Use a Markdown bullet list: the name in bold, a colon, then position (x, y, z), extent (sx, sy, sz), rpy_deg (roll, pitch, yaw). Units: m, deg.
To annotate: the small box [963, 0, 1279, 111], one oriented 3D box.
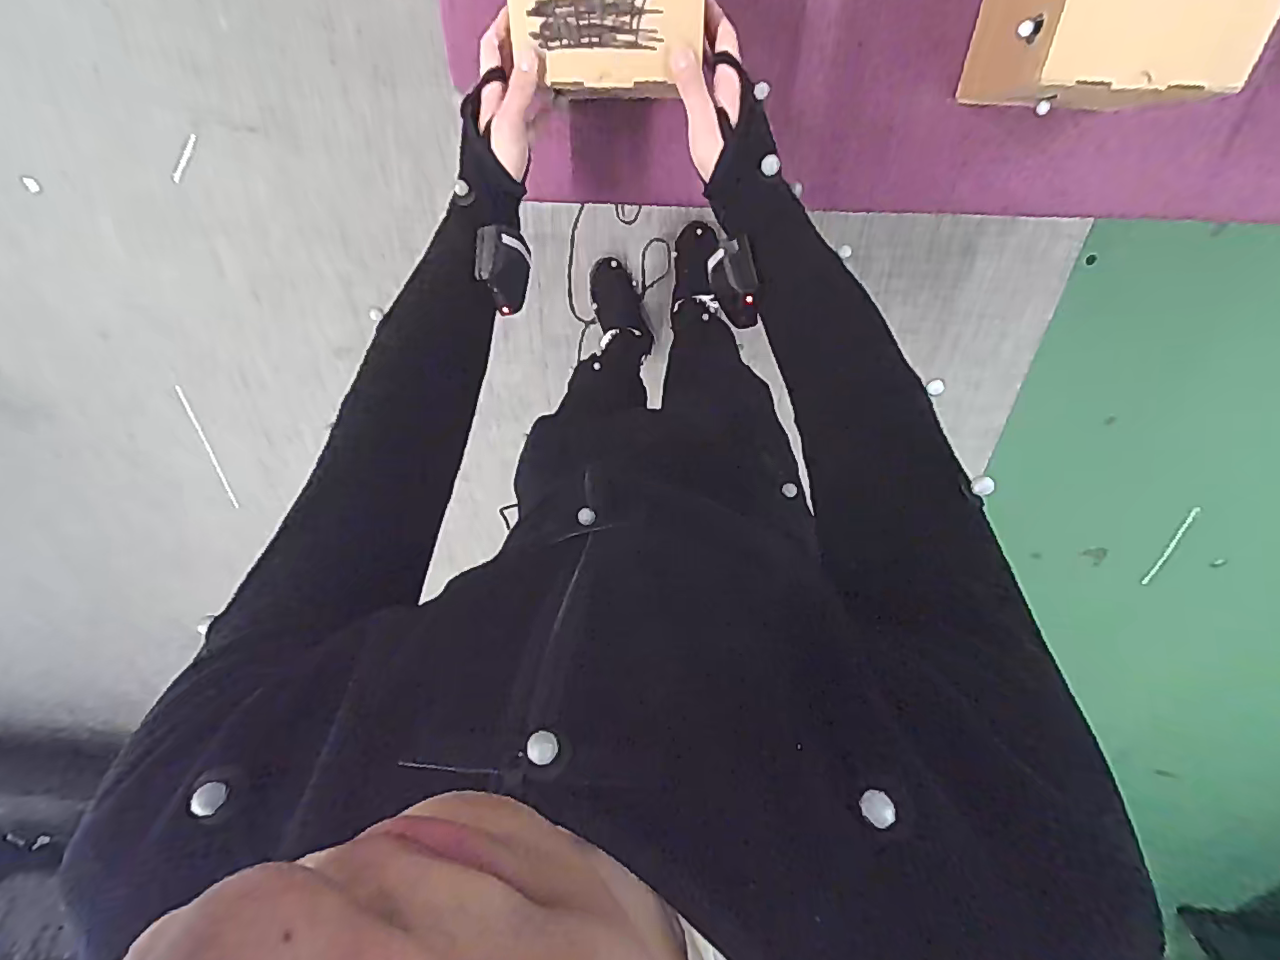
- **small box**: position (0.421, -0.438, 0.474), extent (0.168, 0.176, 0.179), rpy_deg (4, 122, 2)
